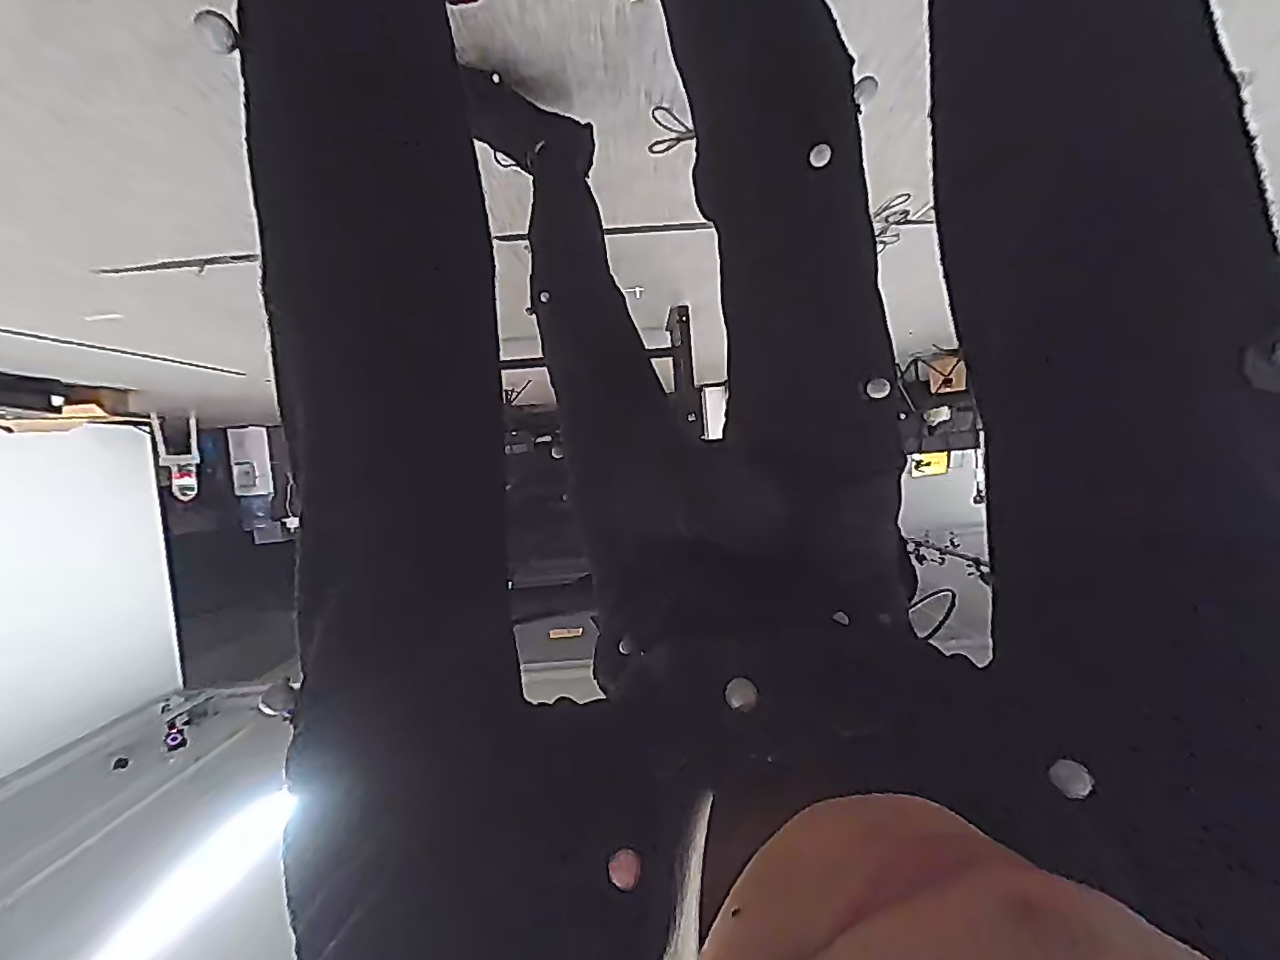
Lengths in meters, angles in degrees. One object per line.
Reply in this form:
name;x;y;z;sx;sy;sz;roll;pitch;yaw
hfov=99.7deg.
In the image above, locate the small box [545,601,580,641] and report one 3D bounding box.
small box;-0.427;0.771;2.979;0.168;0.176;0.179;-5;-177;0
